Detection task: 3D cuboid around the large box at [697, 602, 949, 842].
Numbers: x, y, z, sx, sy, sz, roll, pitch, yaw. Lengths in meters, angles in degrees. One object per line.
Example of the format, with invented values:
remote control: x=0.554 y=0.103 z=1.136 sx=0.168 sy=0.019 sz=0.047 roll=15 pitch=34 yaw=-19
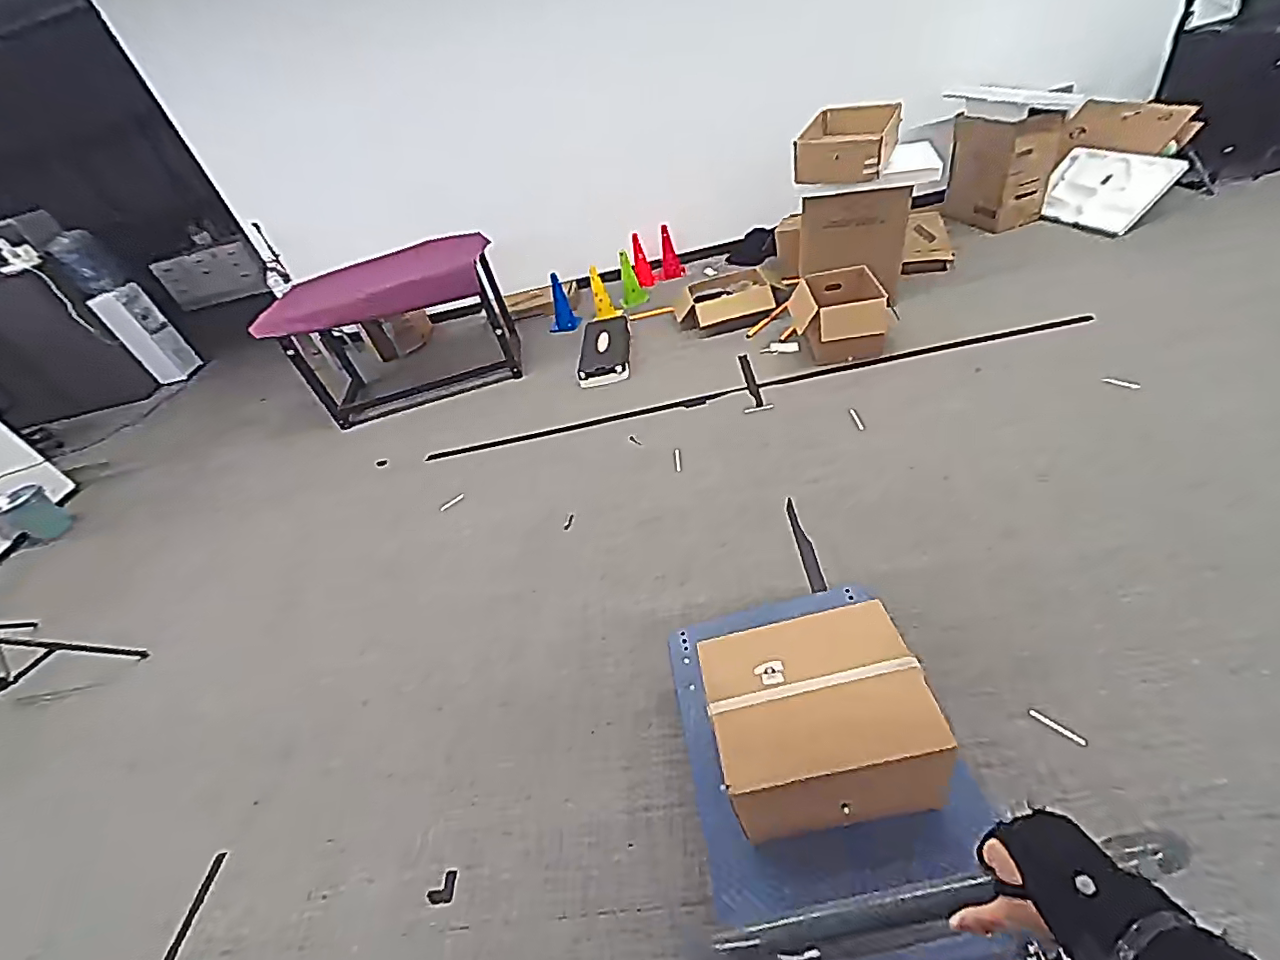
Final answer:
large box: x=0.374 y=0.522 z=1.161 sx=0.408 sy=0.320 sz=0.320 roll=-17 pitch=39 yaw=5
